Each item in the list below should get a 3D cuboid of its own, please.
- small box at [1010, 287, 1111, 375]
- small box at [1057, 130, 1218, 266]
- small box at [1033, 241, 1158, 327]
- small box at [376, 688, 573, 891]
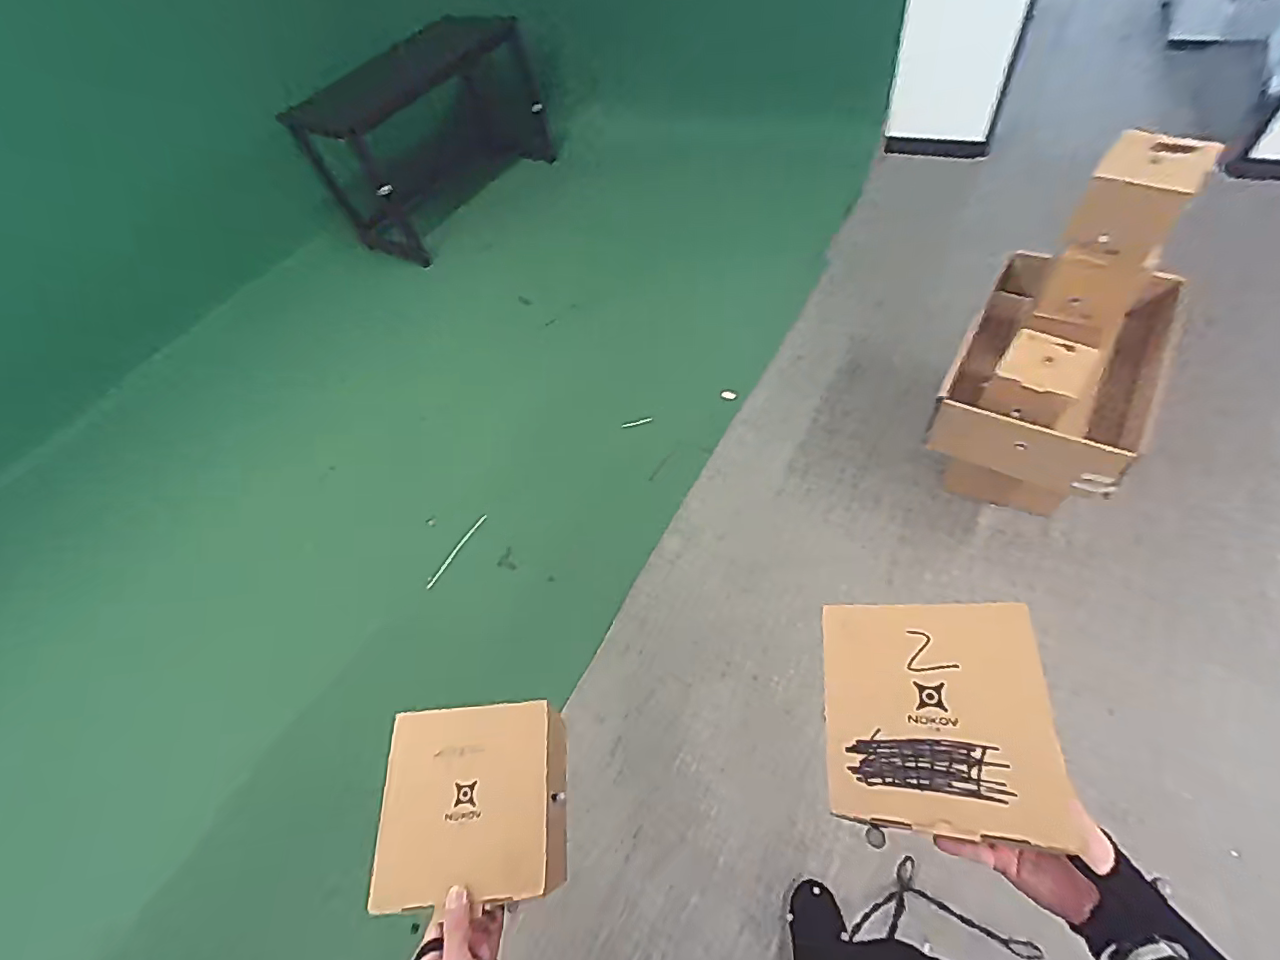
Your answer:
[{"bbox_3d":[1.081,-0.402,1.382,0.168,0.176,0.179,23,66,26],"label":"small box"},{"bbox_3d":[1.014,-0.581,1.118,0.168,0.176,0.179,33,71,29],"label":"small box"},{"bbox_3d":[1.047,-0.488,1.249,0.168,0.176,0.179,23,66,25],"label":"small box"},{"bbox_3d":[-0.169,0.347,0.616,0.168,0.176,0.179,-3,58,-1],"label":"small box"}]
